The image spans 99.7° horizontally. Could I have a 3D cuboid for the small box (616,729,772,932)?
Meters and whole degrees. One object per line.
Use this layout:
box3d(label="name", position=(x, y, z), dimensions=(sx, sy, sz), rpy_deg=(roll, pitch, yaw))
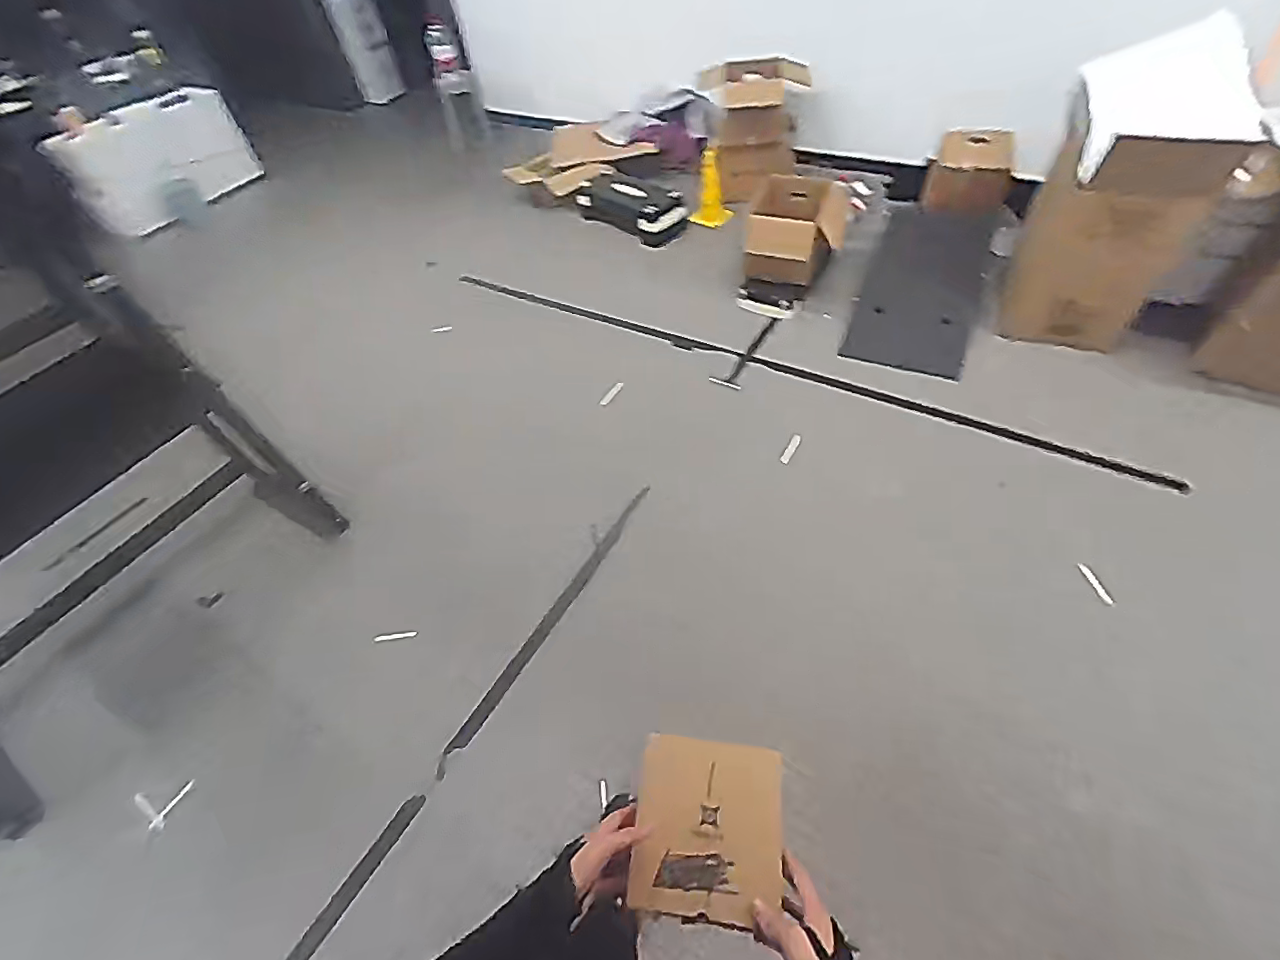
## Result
box3d(label="small box", position=(0.069, 0.429, 0.672), dimensions=(0.168, 0.176, 0.179), rpy_deg=(5, 55, 6))
